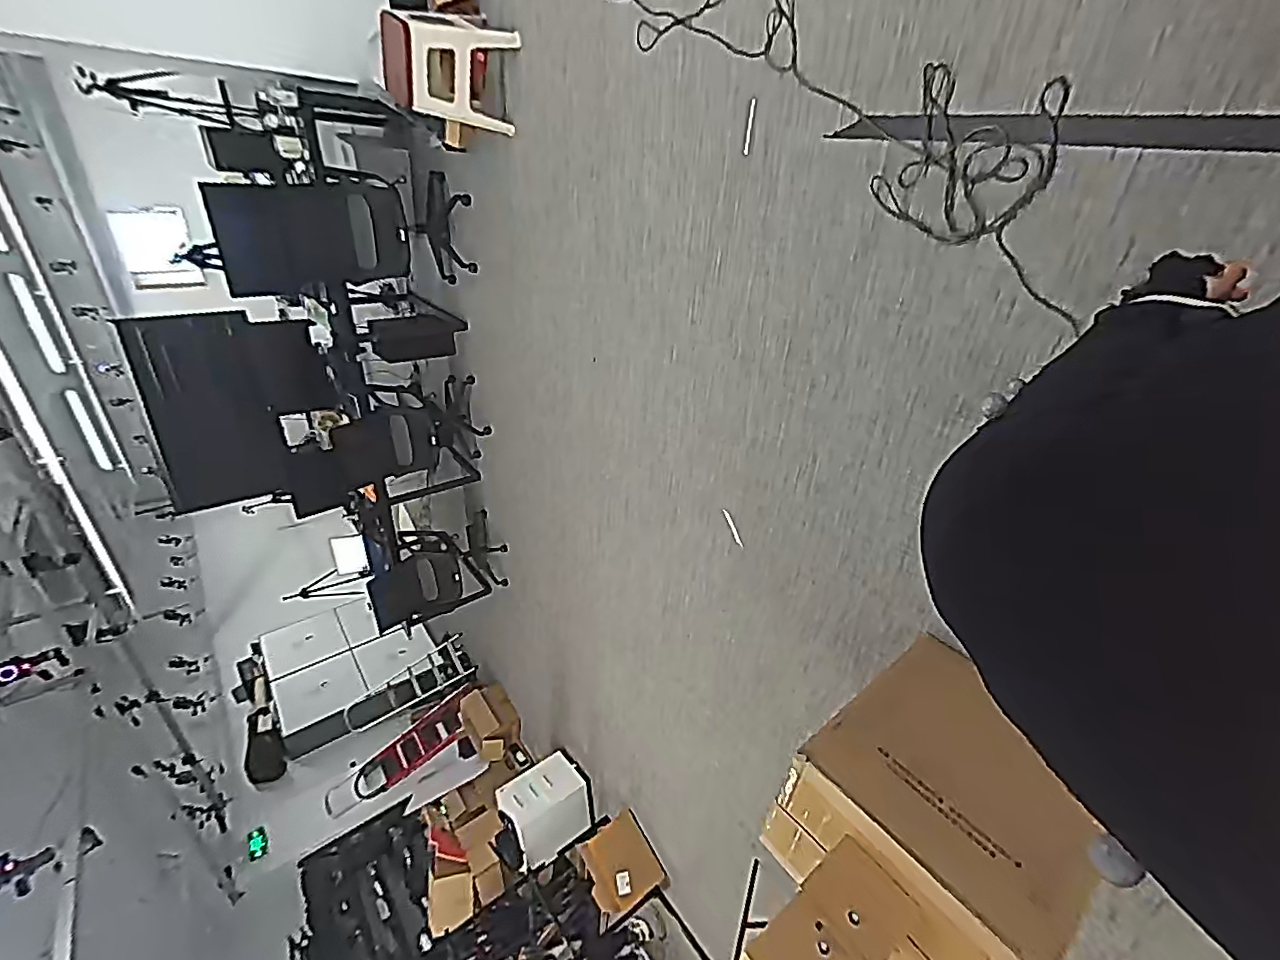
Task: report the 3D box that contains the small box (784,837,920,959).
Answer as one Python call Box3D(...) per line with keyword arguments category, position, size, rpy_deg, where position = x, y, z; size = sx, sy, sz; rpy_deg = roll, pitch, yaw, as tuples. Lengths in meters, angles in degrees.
Box3D(category="small box", position=(0.428, 0.880, 1.092), size=(0.179, 0.176, 0.168), rpy_deg=(37, 133, 41))
